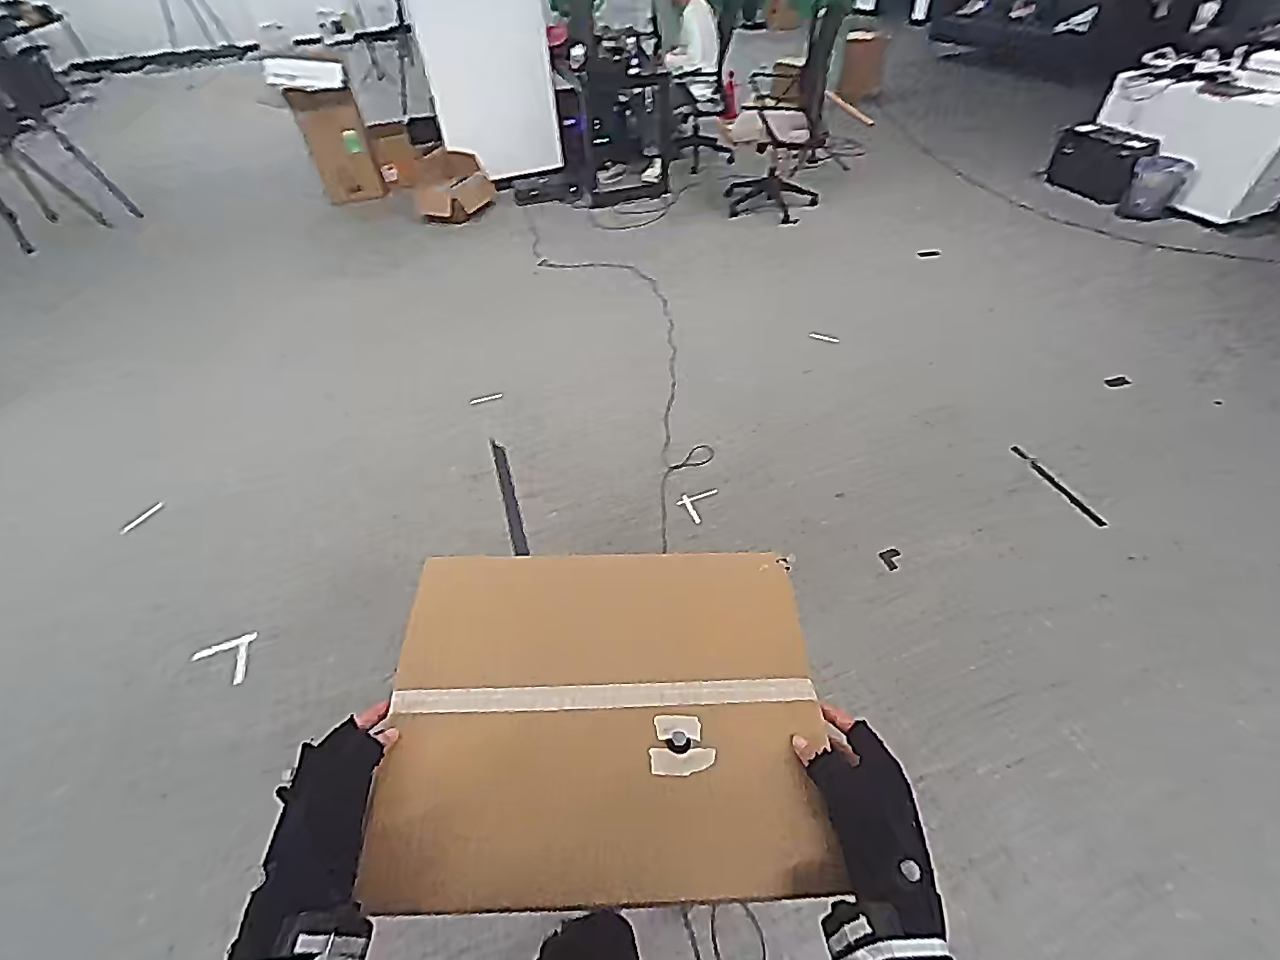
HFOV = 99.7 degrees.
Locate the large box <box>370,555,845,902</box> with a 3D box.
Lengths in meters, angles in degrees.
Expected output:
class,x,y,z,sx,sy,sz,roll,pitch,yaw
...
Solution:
class,x,y,z,sx,sy,sz,roll,pitch,yaw
large box,-0.033,0.303,0.652,0.408,0.320,0.320,0,52,-2
